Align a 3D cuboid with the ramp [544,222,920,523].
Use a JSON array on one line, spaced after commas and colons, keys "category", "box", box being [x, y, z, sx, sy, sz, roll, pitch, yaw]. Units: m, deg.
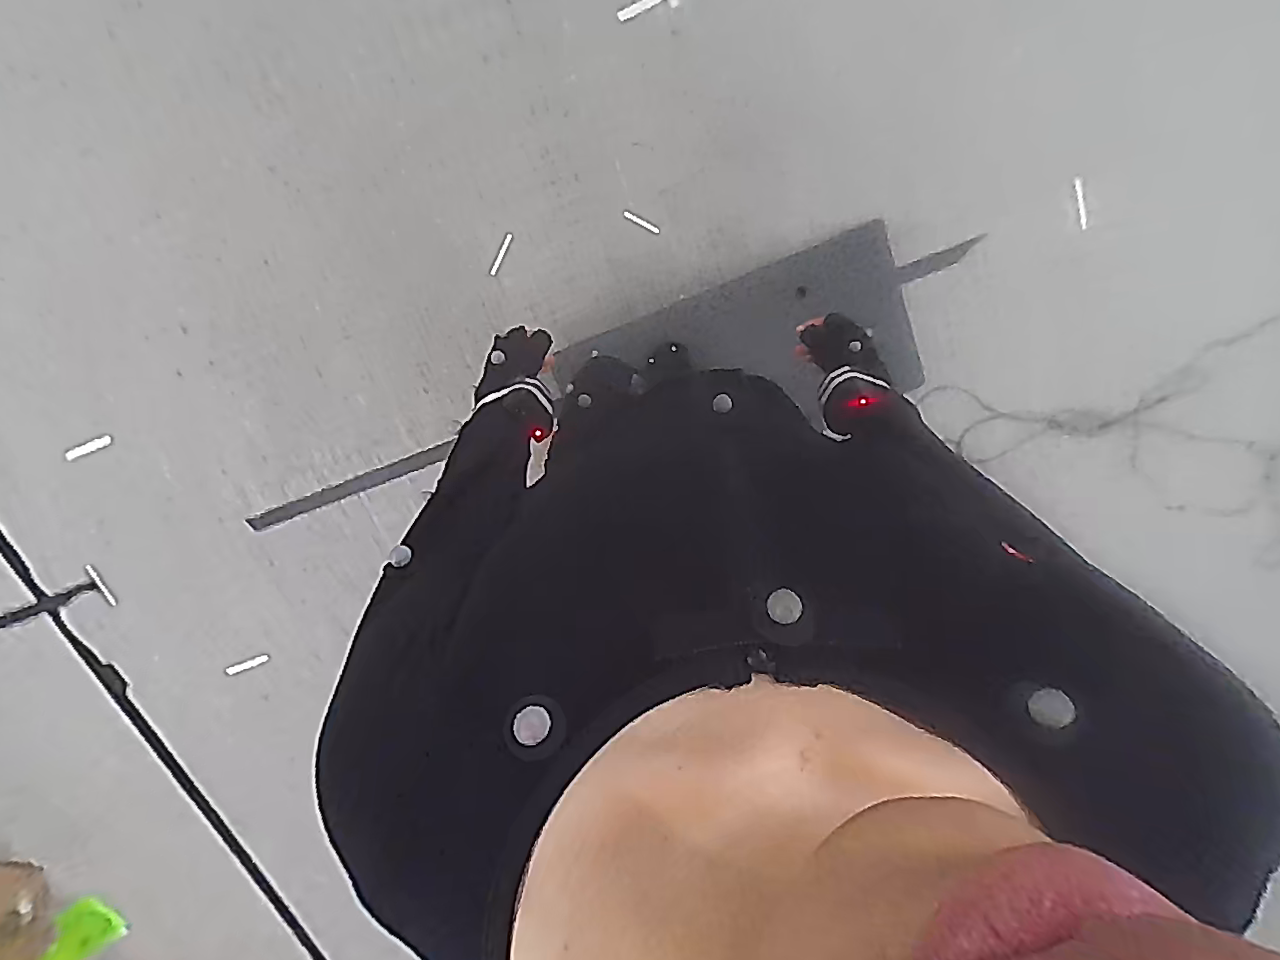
[{"category": "ramp", "box": [0.288, -0.301, 1.500, 0.991, 0.206, 0.509, -24, 102, 4]}]
